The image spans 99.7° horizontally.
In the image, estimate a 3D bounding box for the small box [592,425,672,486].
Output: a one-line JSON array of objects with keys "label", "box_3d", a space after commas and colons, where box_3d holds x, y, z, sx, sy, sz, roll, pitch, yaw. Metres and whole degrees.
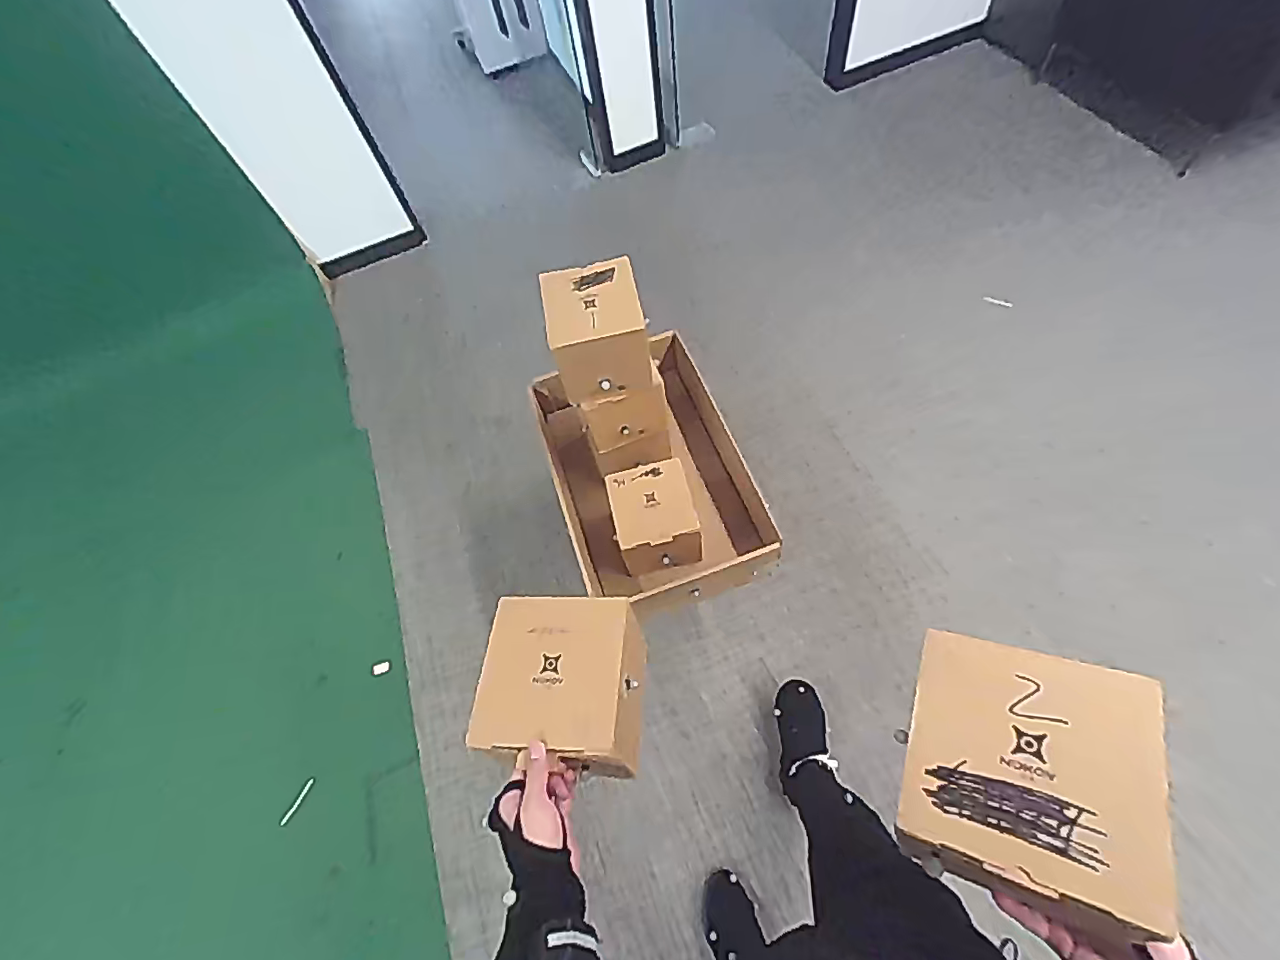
[{"label": "small box", "box_3d": [-0.032, -0.116, 1.285, 0.168, 0.176, 0.179, -21, 62, -2]}]

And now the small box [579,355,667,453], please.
[{"label": "small box", "box_3d": [-0.051, -0.188, 1.141, 0.168, 0.176, 0.179, -21, 62, -4]}]

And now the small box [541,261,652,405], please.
[{"label": "small box", "box_3d": [-0.076, -0.266, 0.999, 0.168, 0.176, 0.179, -12, 63, 1]}]
